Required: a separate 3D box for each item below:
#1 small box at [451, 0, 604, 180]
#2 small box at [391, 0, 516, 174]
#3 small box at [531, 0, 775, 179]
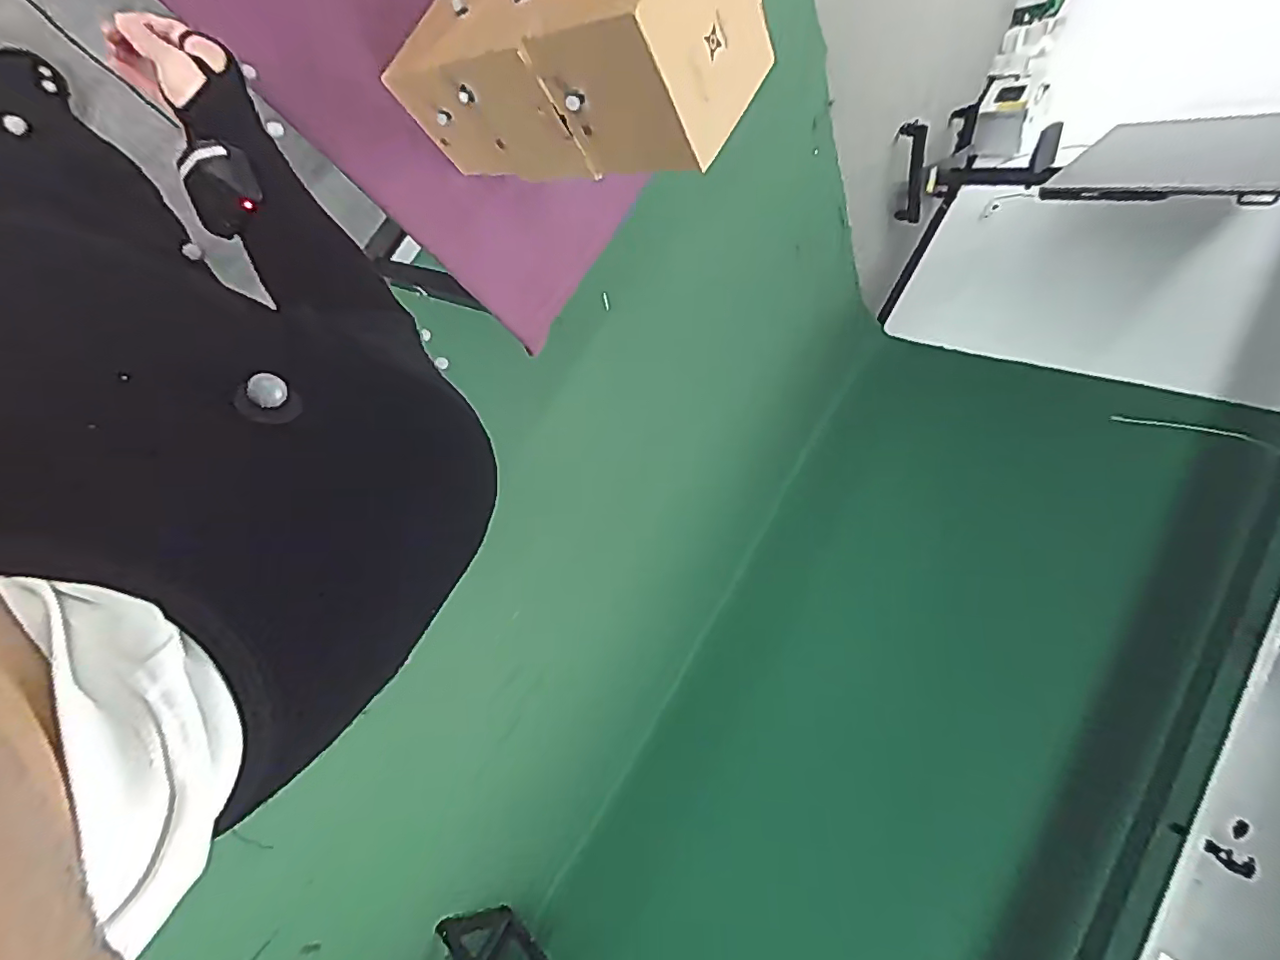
[{"bbox_3d":[-0.106,-0.507,0.681,0.179,0.176,0.168,-61,144,-9],"label":"small box"},{"bbox_3d":[-0.225,-0.569,0.777,0.179,0.176,0.168,-62,144,-7],"label":"small box"},{"bbox_3d":[0.017,-0.460,0.585,0.179,0.176,0.168,-59,143,-10],"label":"small box"}]
